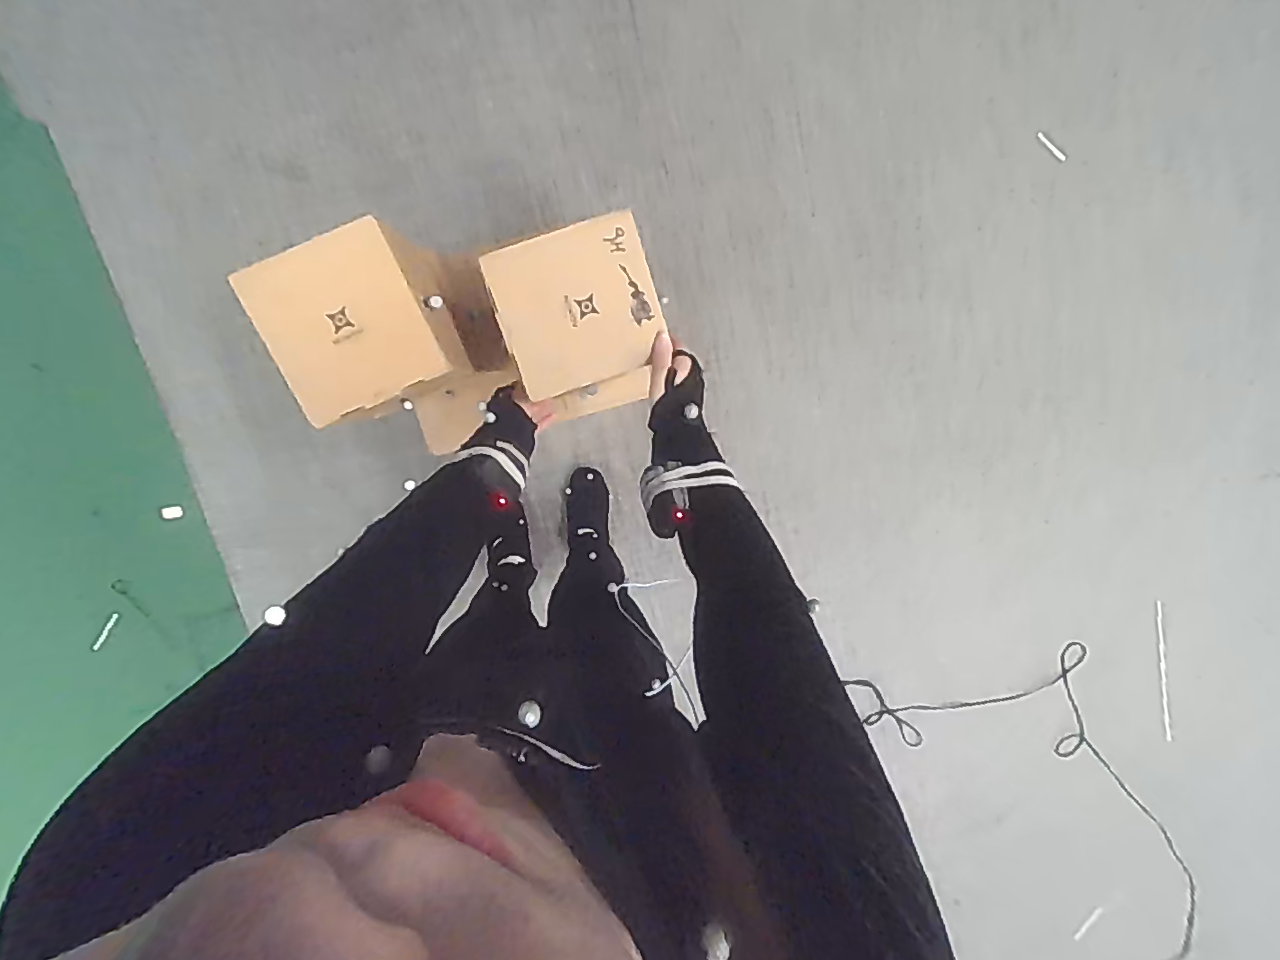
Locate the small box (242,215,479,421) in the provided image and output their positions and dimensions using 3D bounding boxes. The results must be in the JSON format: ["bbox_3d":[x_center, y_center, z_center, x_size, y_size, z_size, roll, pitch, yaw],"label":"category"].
[{"bbox_3d":[-0.318,-0.186,0.659,0.168,0.176,0.179,-23,103,-1],"label":"small box"}]
